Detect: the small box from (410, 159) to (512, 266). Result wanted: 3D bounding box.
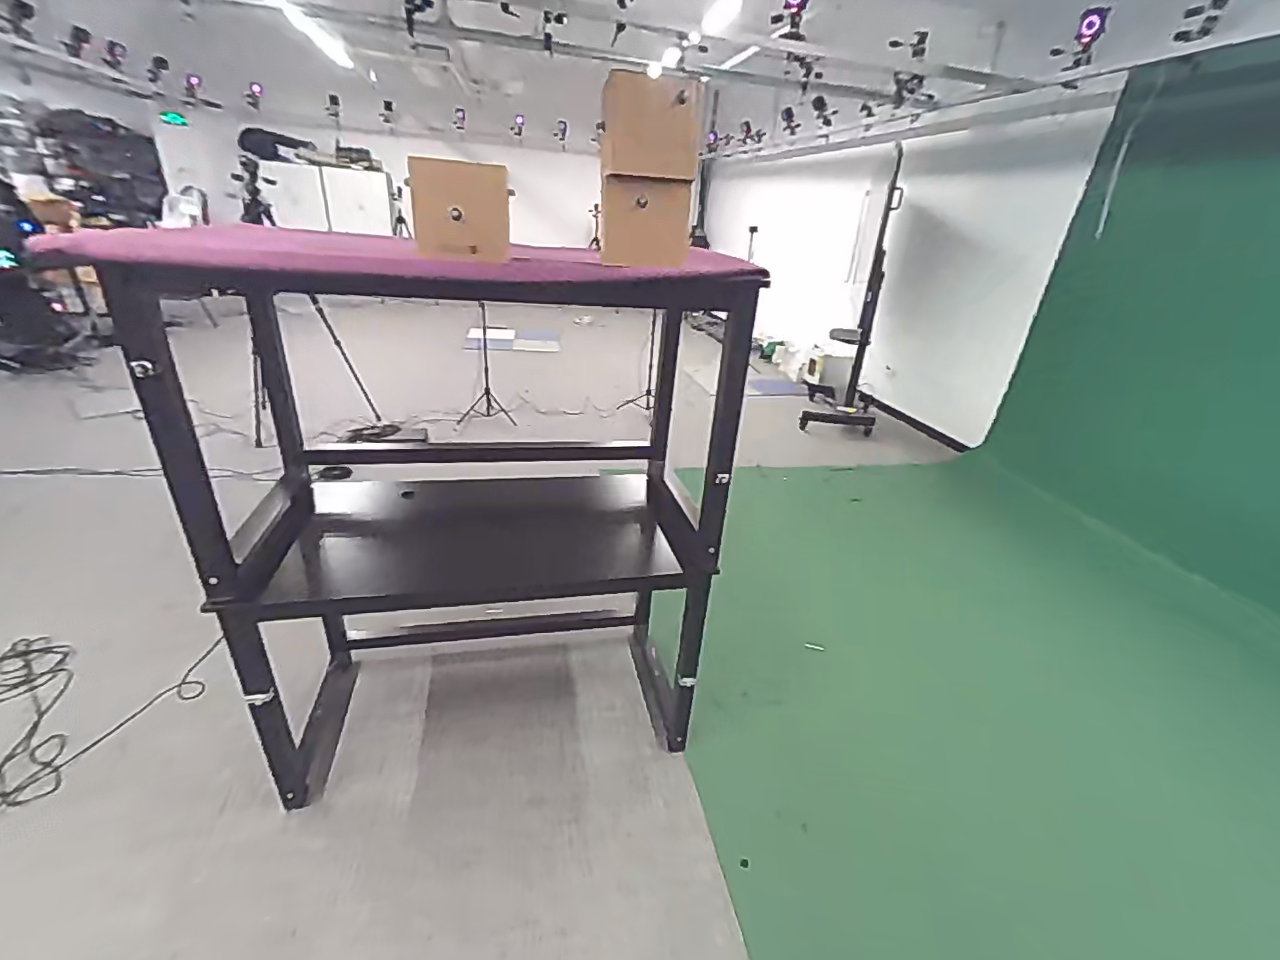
[{"bbox_3d":[-0.339,-0.517,1.056,0.168,0.176,0.179,0,26,-11],"label":"small box"}]

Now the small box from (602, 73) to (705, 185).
[{"bbox_3d":[0.018,-0.682,1.079,0.179,0.176,0.168,-1,25,-11],"label":"small box"}]

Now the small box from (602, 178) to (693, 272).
[{"bbox_3d":[0.008,-0.541,1.161,0.179,0.176,0.168,1,25,-7],"label":"small box"}]
